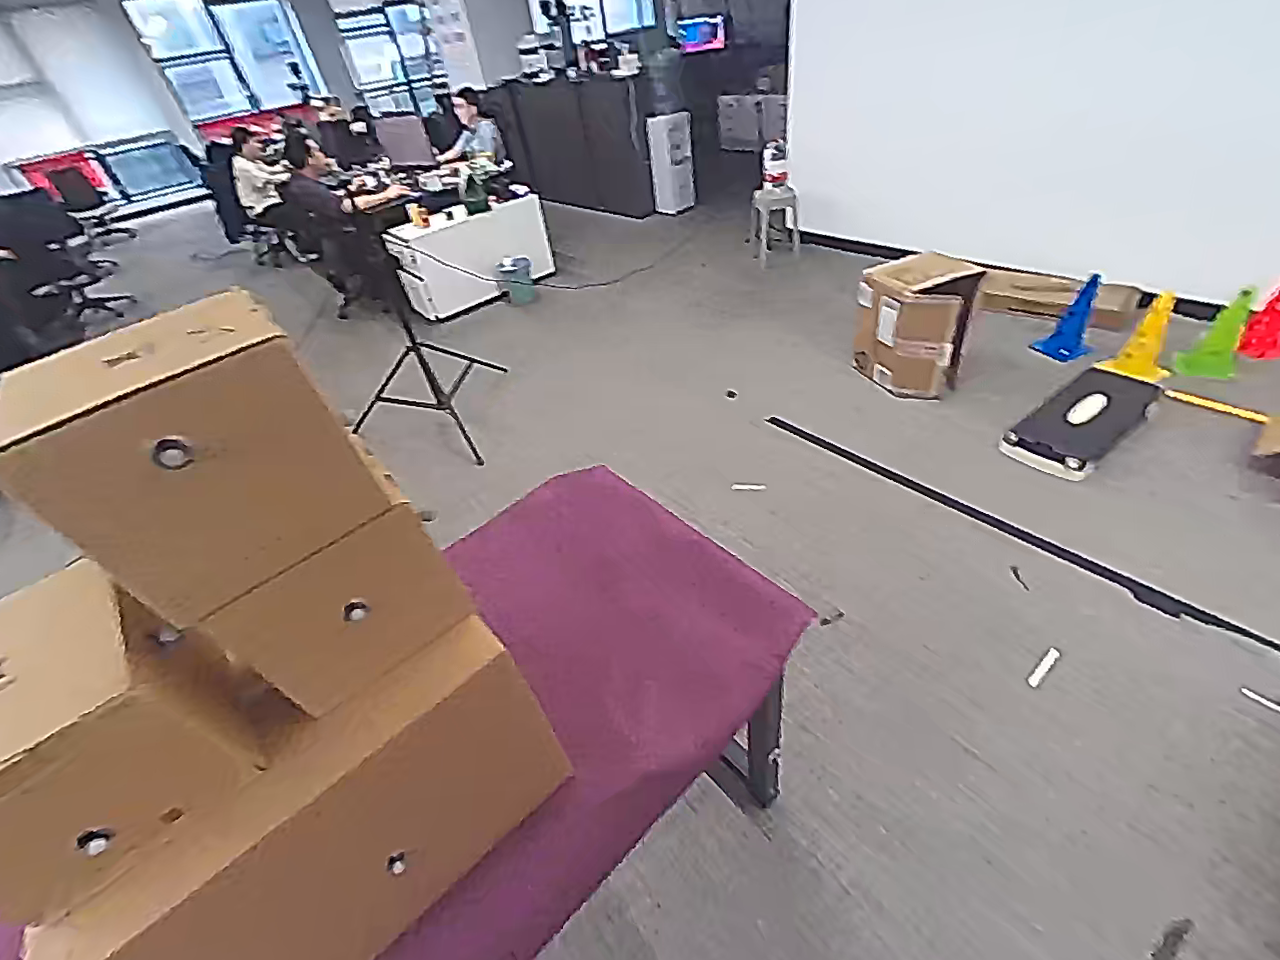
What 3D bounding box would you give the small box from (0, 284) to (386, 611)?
[{"bbox_3d":[-0.345,-0.031,0.434,0.179,0.176,0.168,-35,45,-24],"label":"small box"}]
